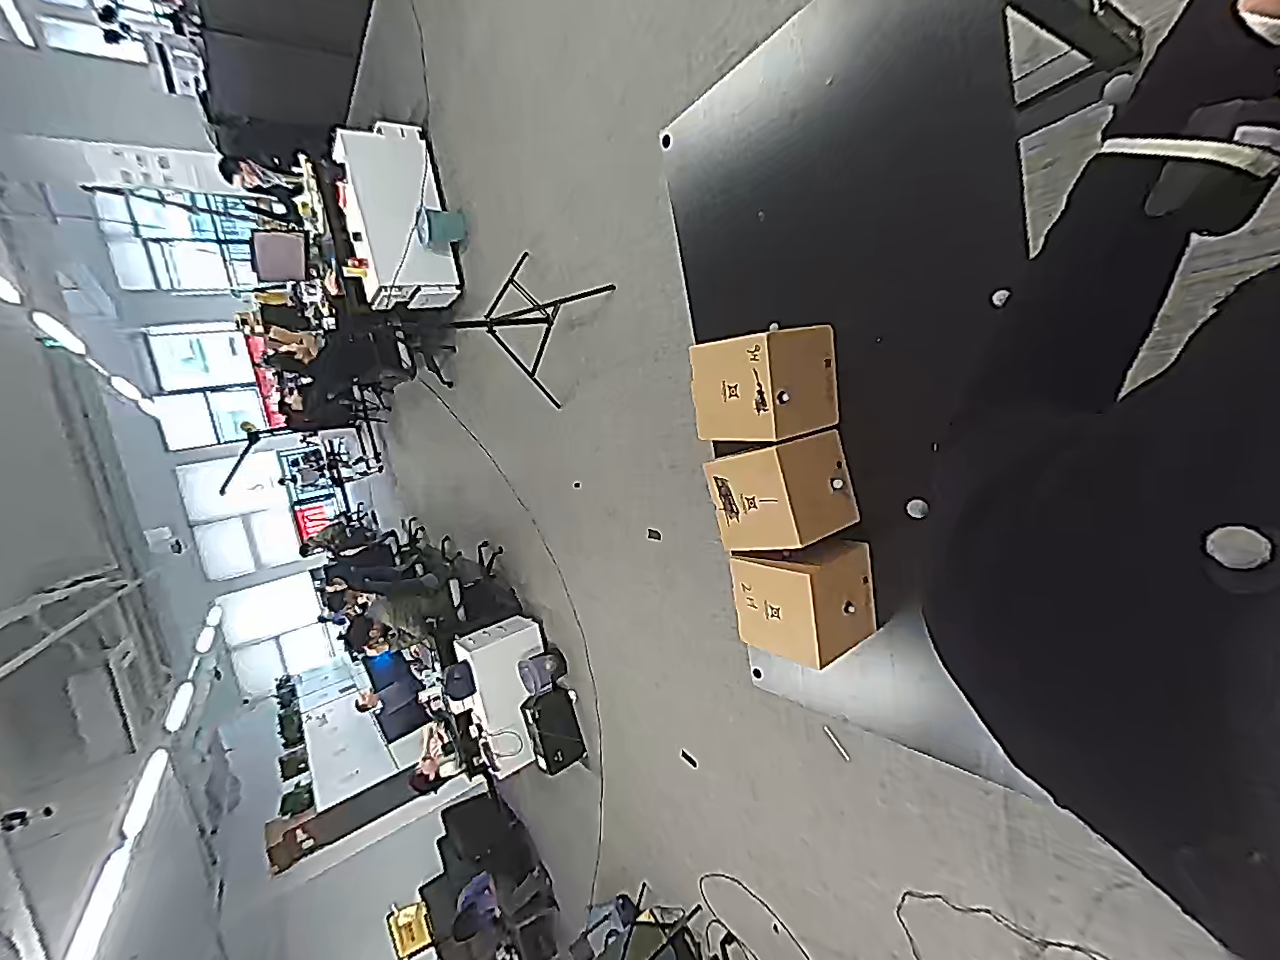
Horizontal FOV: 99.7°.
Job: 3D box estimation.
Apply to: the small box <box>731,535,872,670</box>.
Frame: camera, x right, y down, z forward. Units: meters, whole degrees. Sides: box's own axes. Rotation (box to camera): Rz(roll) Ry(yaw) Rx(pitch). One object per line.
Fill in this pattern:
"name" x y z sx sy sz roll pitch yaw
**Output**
"small box" 0.289 0.202 0.953 0.179 0.176 0.168 4 105 55
